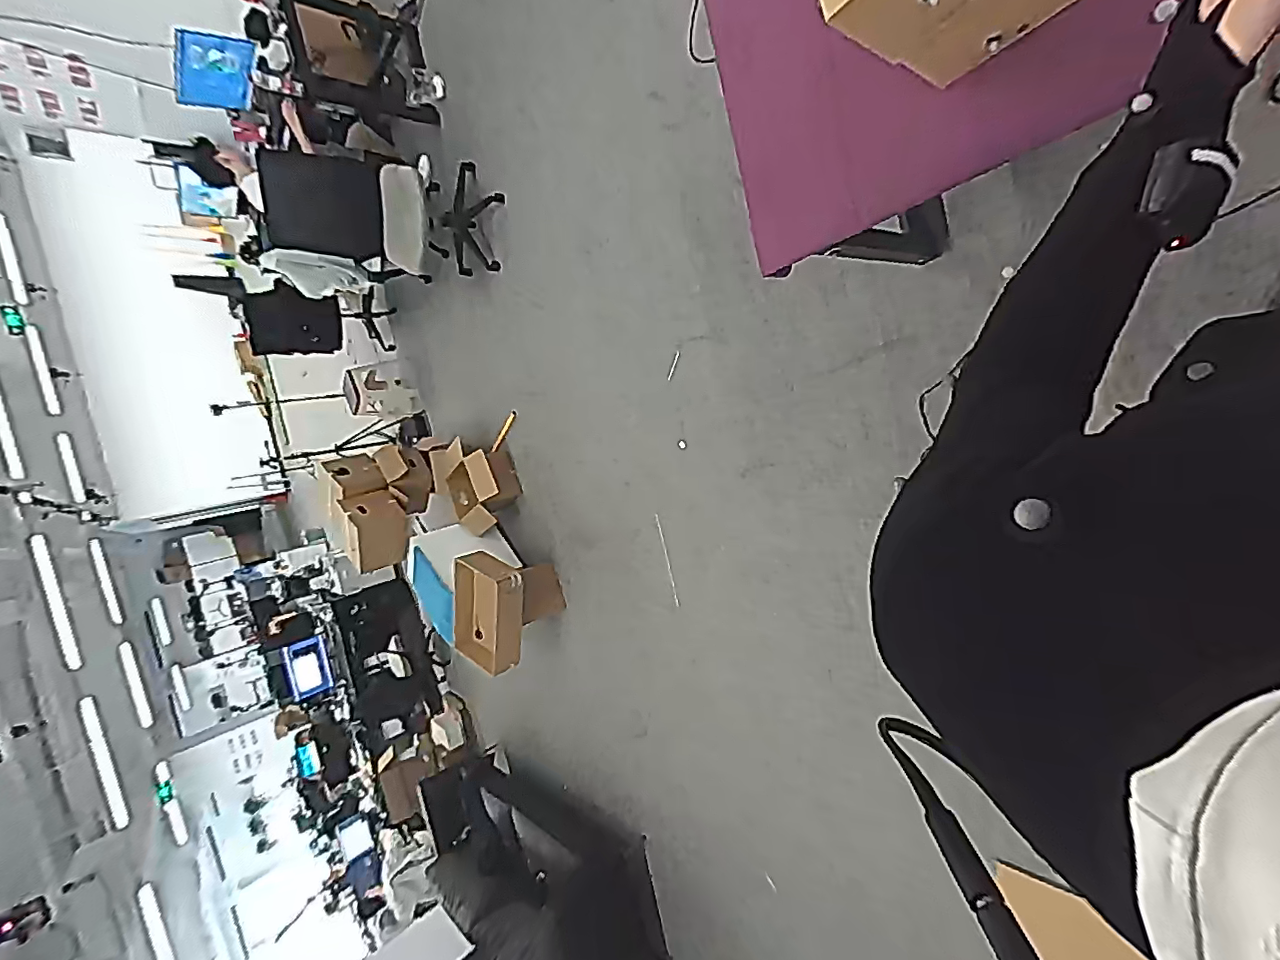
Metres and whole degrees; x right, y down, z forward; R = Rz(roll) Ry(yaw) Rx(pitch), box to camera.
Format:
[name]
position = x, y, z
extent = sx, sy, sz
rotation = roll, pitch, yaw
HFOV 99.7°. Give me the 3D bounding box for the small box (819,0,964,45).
[small box]
position = 0.281, -0.592, 0.550
extent = 0.168, 0.176, 0.179
rotation = -12, 93, 50
